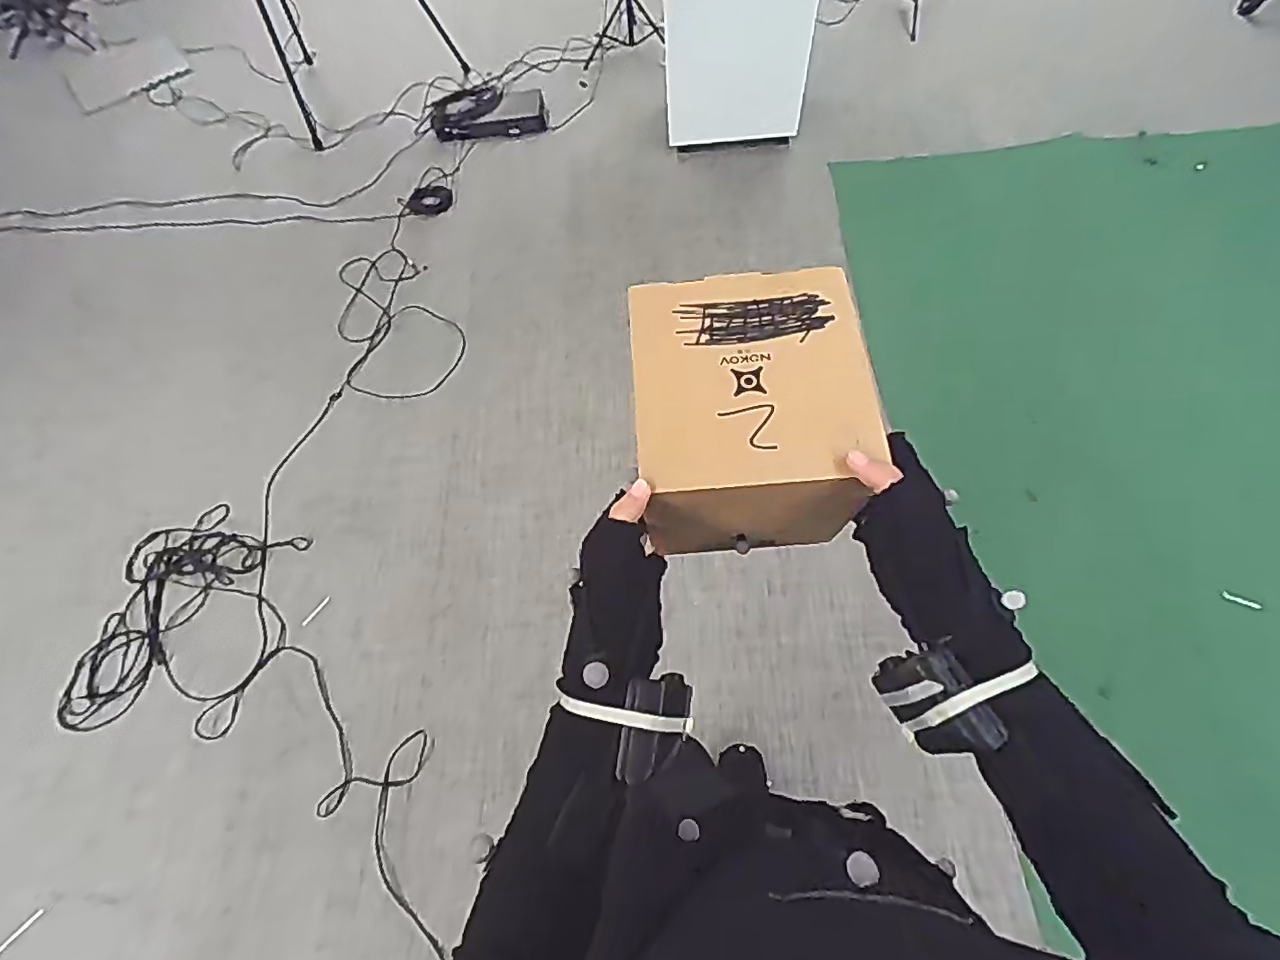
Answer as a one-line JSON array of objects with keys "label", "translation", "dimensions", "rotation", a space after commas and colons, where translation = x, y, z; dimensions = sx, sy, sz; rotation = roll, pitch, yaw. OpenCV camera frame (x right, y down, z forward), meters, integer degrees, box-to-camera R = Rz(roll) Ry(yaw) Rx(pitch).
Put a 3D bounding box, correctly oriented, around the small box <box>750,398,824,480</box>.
[{"label": "small box", "translation": [0.405, -0.108, 1.514], "dimensions": [0.168, 0.176, 0.179], "rotation": [-3, 63, 3]}]
